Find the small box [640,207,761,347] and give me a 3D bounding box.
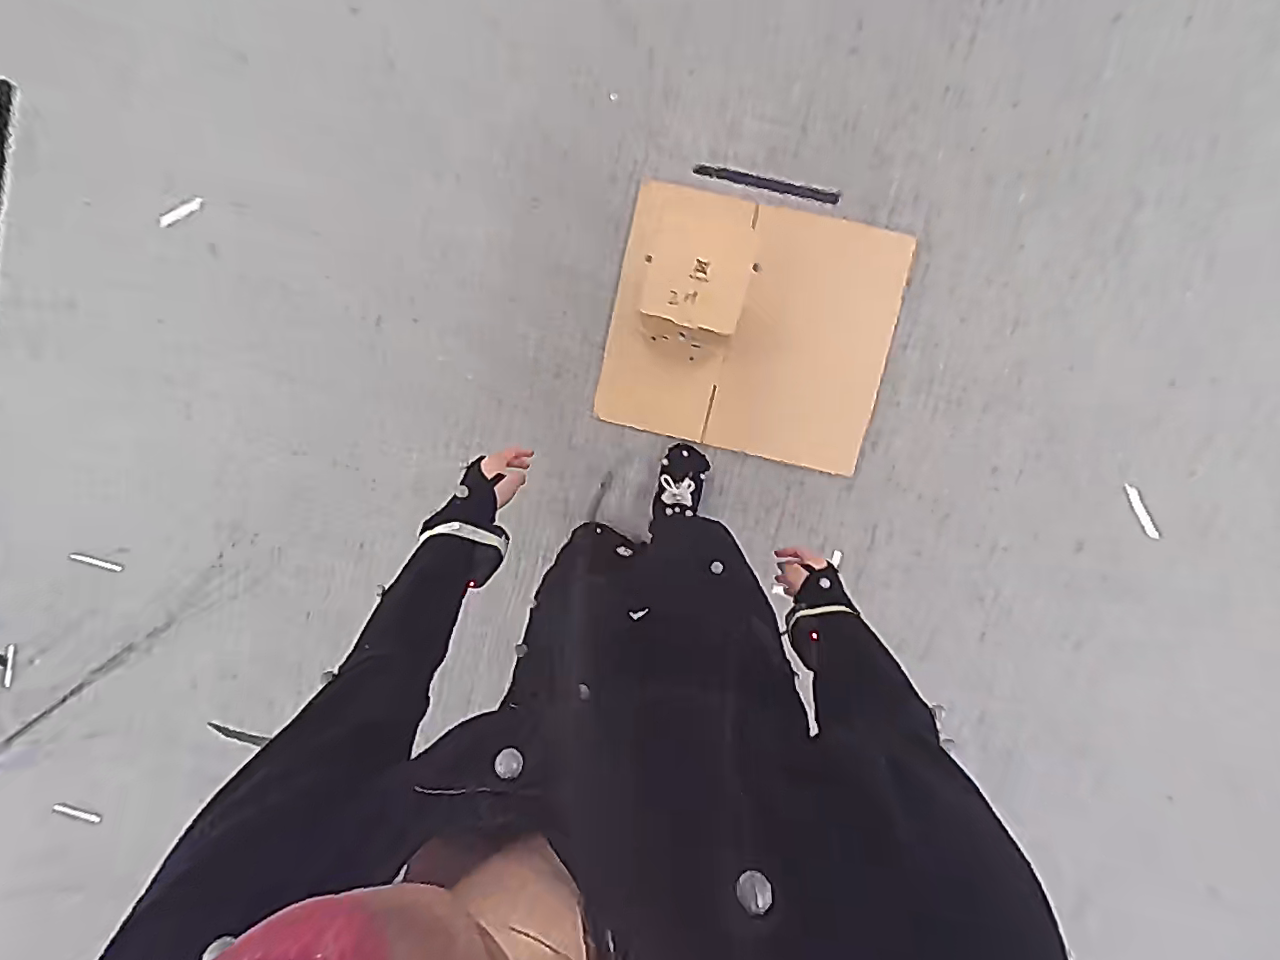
[{"bbox_3d":[0.101,-0.351,0.967,0.168,0.176,0.179,15,98,1],"label":"small box"}]
